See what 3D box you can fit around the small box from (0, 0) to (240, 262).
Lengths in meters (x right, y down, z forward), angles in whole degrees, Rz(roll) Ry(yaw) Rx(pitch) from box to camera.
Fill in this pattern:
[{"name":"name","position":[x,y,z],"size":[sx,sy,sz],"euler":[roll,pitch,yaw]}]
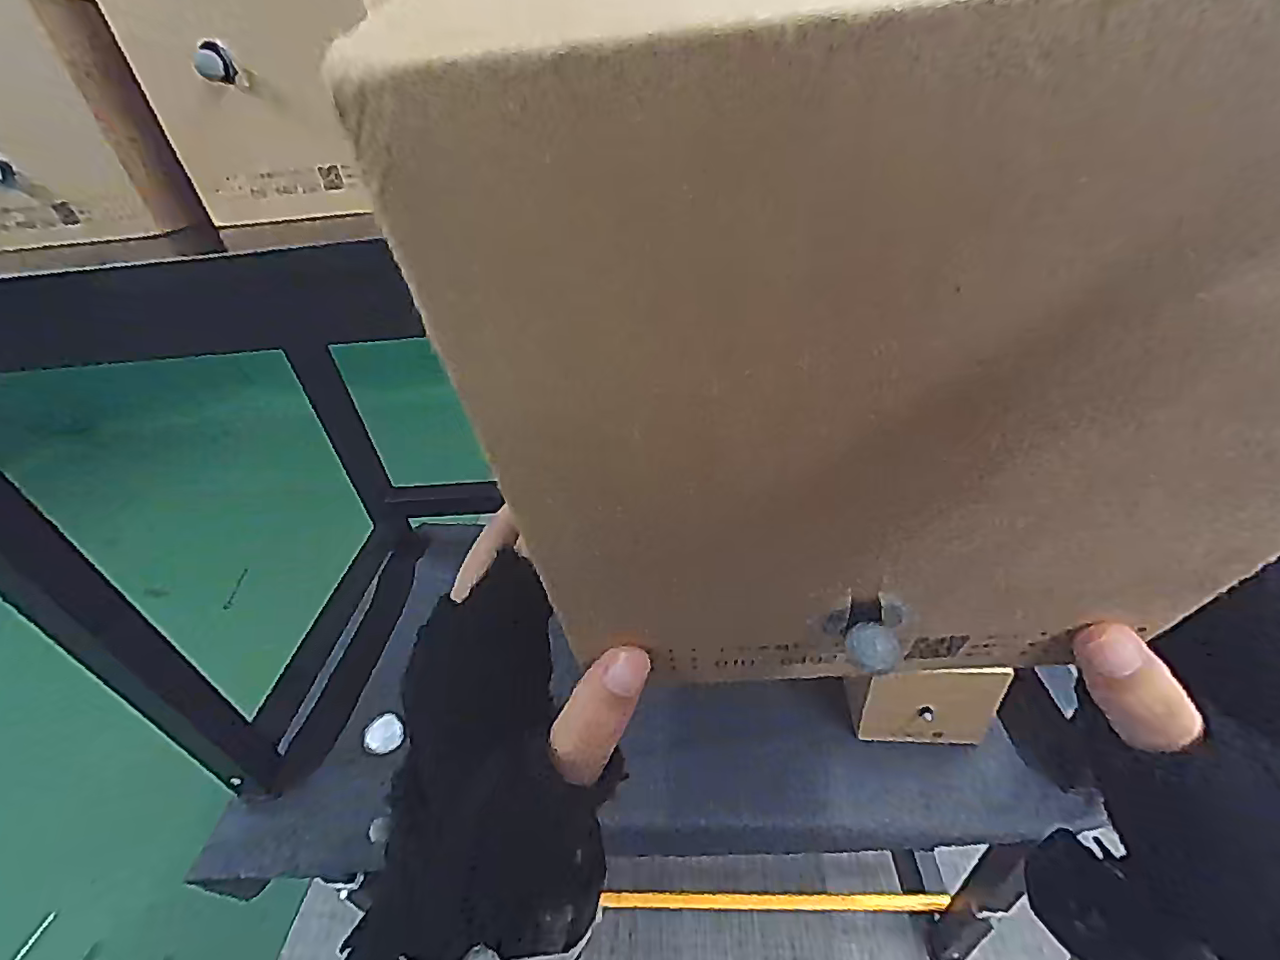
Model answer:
[{"name":"small box","position":[-0.425,-0.282,0.424],"size":[0.168,0.176,0.179],"euler":[-3,37,6]}]

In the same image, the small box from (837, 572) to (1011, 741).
[{"name":"small box","position":[0.393,0.255,0.785],"size":[0.168,0.176,0.179],"euler":[-1,36,8]}]

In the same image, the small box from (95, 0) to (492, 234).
[{"name":"small box","position":[-0.229,-0.294,0.410],"size":[0.168,0.176,0.179],"euler":[-2,36,7]}]
